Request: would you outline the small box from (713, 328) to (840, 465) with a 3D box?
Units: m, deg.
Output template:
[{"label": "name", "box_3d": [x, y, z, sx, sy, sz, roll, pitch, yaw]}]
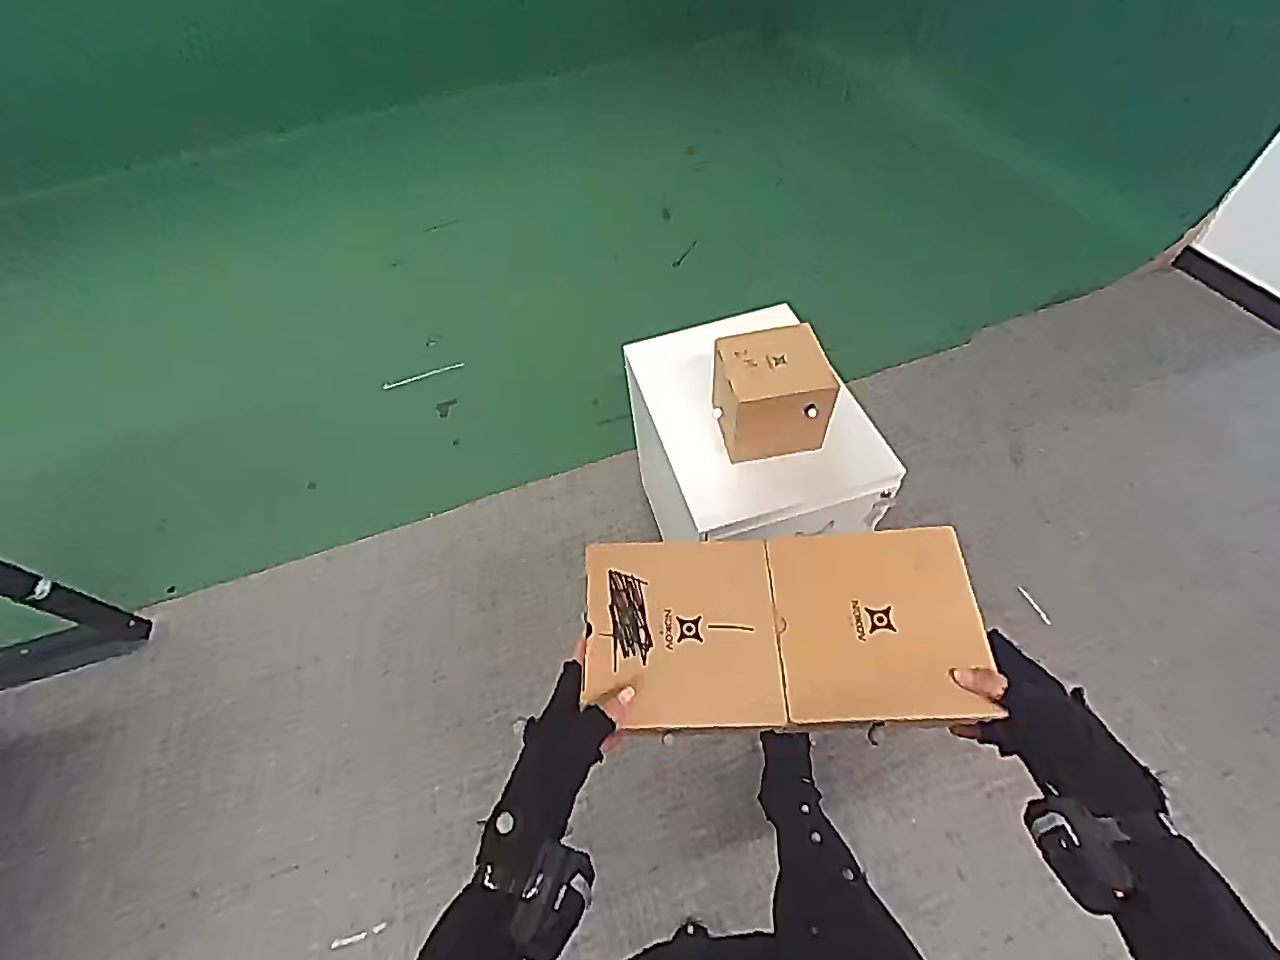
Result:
[{"label": "small box", "box_3d": [0.237, -0.149, 0.989, 0.179, 0.176, 0.168, -10, 54, -1]}]
